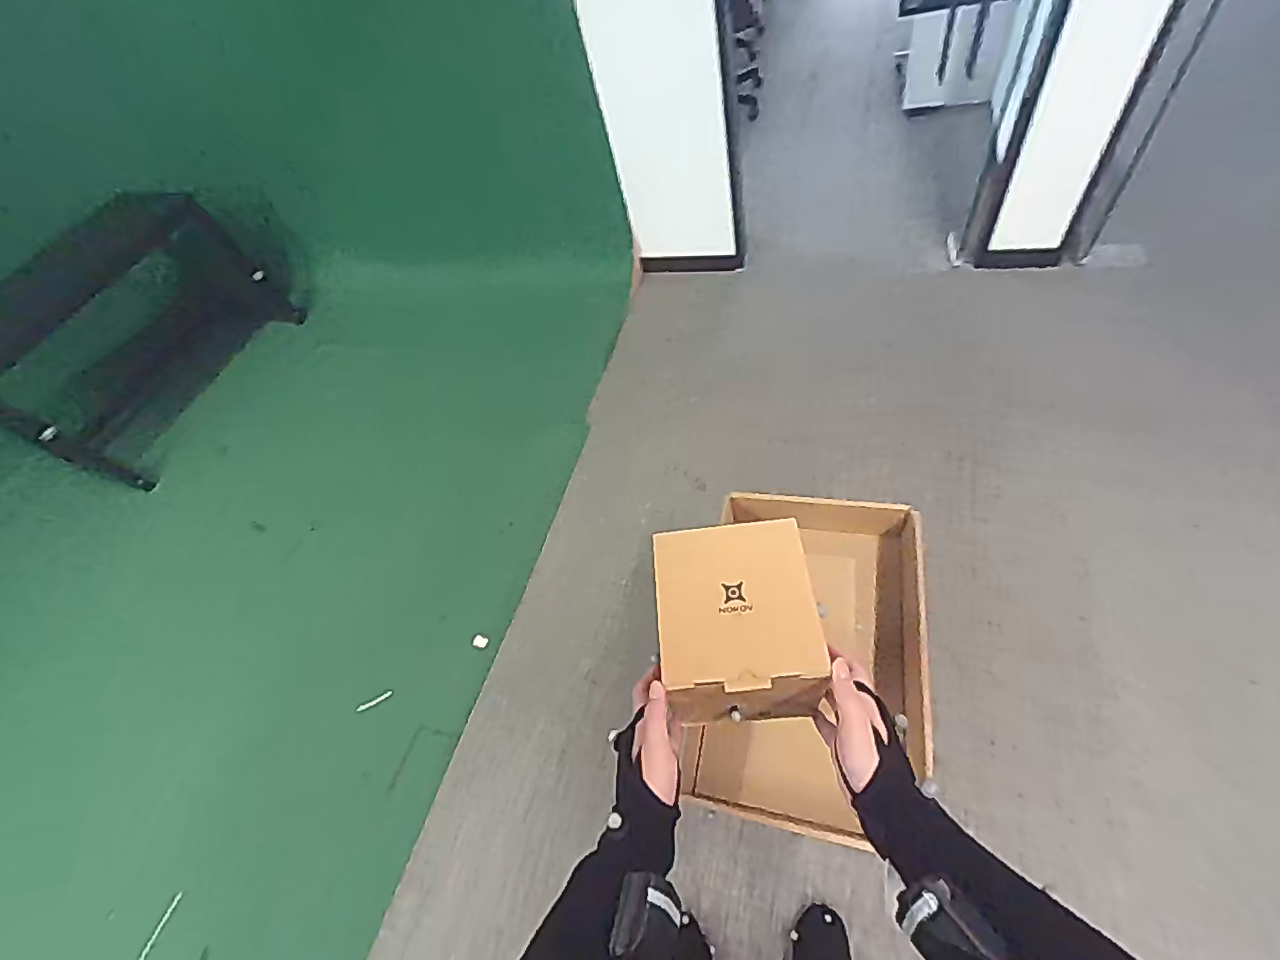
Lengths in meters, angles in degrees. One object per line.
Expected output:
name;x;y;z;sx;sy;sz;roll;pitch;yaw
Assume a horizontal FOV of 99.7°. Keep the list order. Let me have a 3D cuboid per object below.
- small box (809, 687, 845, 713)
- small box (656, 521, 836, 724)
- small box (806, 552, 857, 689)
small box;0.305;0.326;1.039;0.168;0.176;0.179;5;58;18
small box;0.110;0.169;0.627;0.168;0.176;0.179;-7;55;4
small box;0.270;0.235;0.907;0.168;0.176;0.179;3;56;17
